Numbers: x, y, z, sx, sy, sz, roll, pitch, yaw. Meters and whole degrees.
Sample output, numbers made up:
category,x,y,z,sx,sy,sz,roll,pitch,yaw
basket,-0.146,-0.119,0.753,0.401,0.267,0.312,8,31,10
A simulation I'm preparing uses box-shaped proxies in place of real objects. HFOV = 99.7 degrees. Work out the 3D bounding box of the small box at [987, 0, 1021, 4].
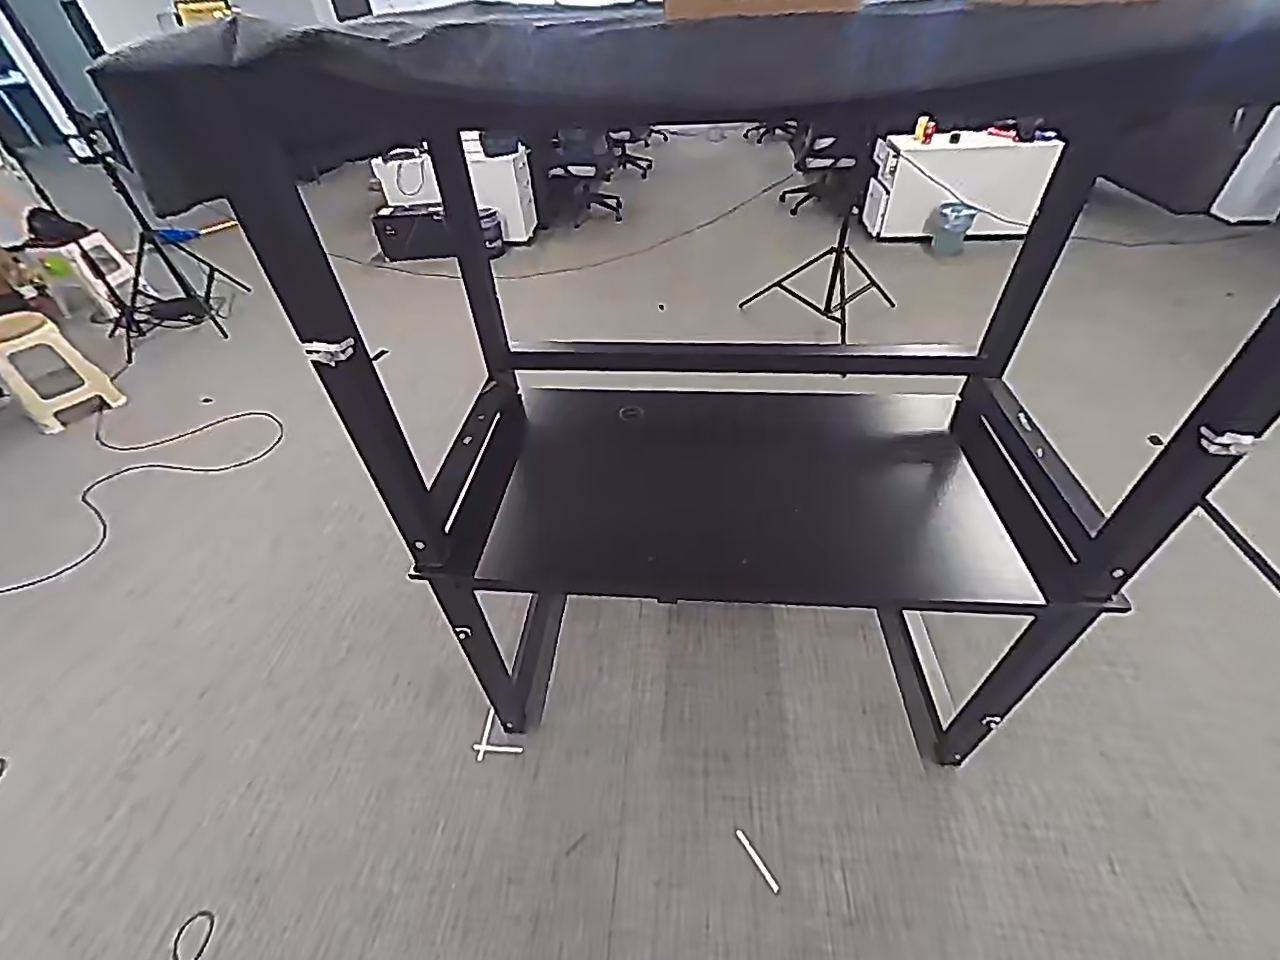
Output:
category,x,y,z,sx,sy,sz,roll,pitch,yaw
small box,0.405,-0.508,0.440,0.168,0.176,0.179,5,41,8

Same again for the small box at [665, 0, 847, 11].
category,x,y,z,sx,sy,sz,roll,pitch,yaw
small box,0.106,-0.515,0.462,0.168,0.176,0.179,2,41,6
